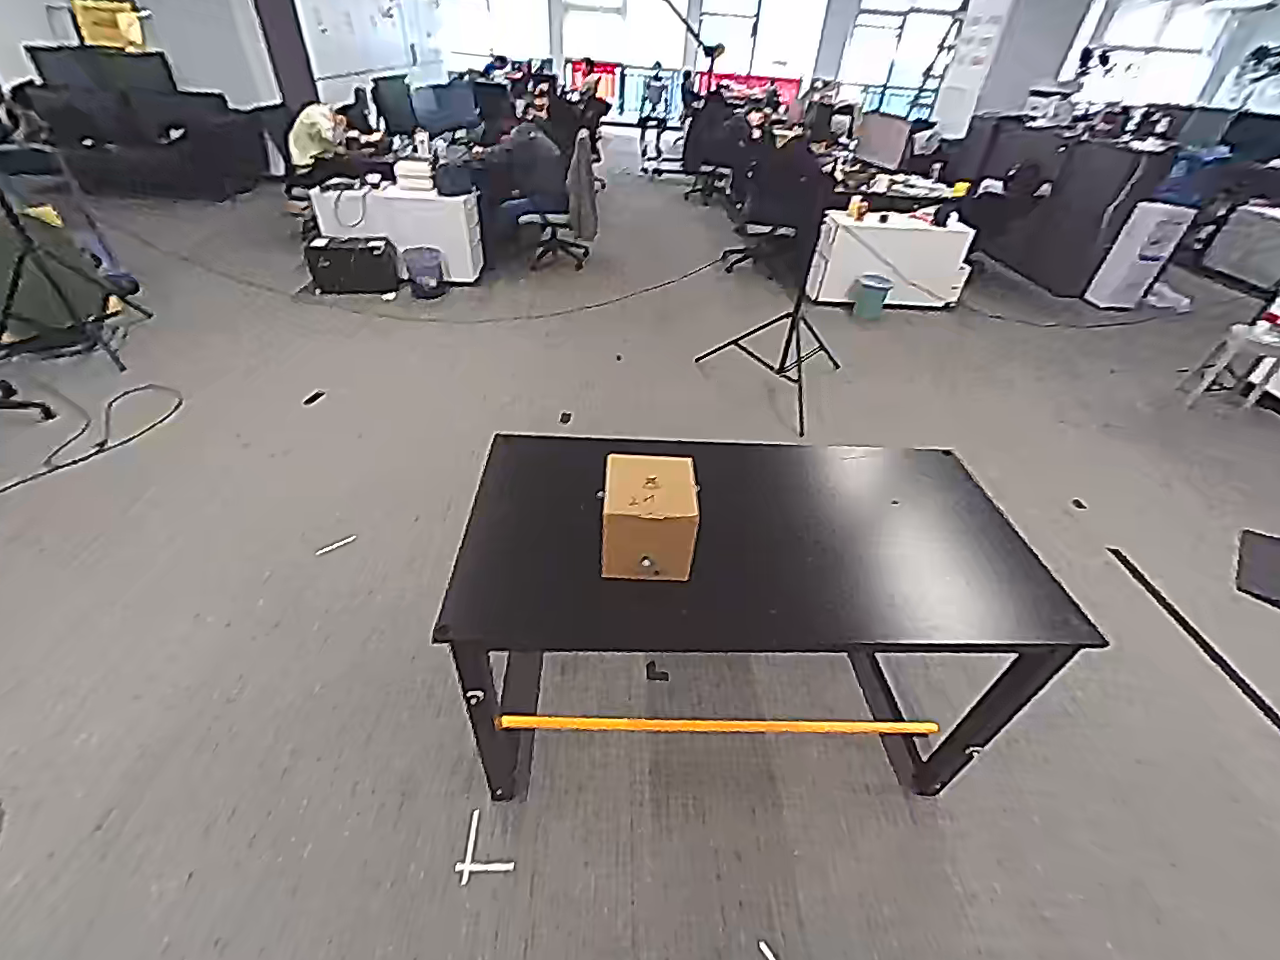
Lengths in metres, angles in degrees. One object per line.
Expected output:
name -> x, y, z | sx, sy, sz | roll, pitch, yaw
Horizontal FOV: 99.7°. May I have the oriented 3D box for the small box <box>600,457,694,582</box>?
small box -> 0.009, 0.075, 1.055 | 0.168, 0.176, 0.179 | 2, 39, -2
